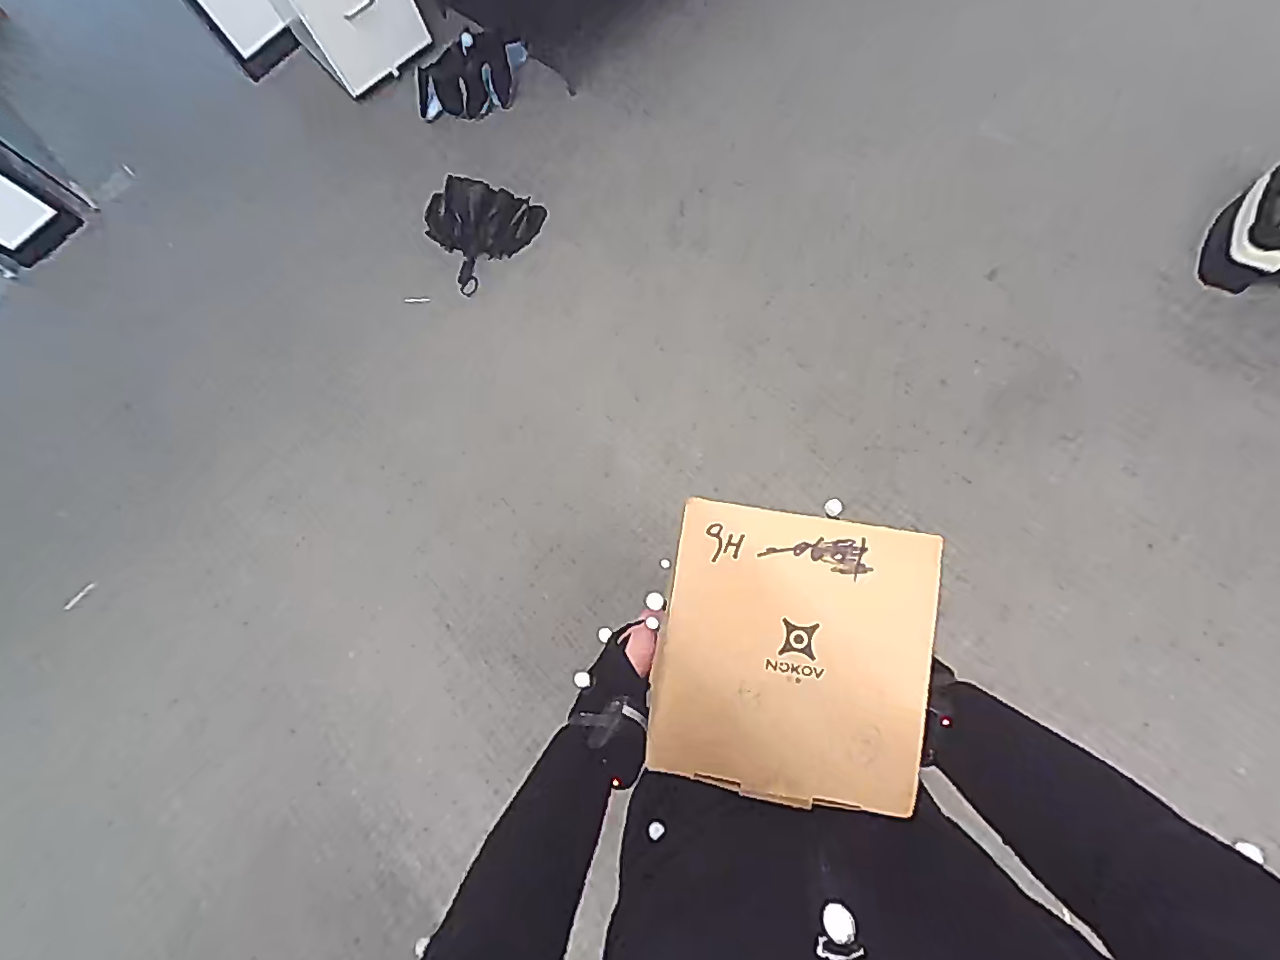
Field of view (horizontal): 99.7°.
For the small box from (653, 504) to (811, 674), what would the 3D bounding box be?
[{"bbox_3d":[0.117,0.139,0.735,0.168,0.176,0.179,12,85,6],"label":"small box"}]
